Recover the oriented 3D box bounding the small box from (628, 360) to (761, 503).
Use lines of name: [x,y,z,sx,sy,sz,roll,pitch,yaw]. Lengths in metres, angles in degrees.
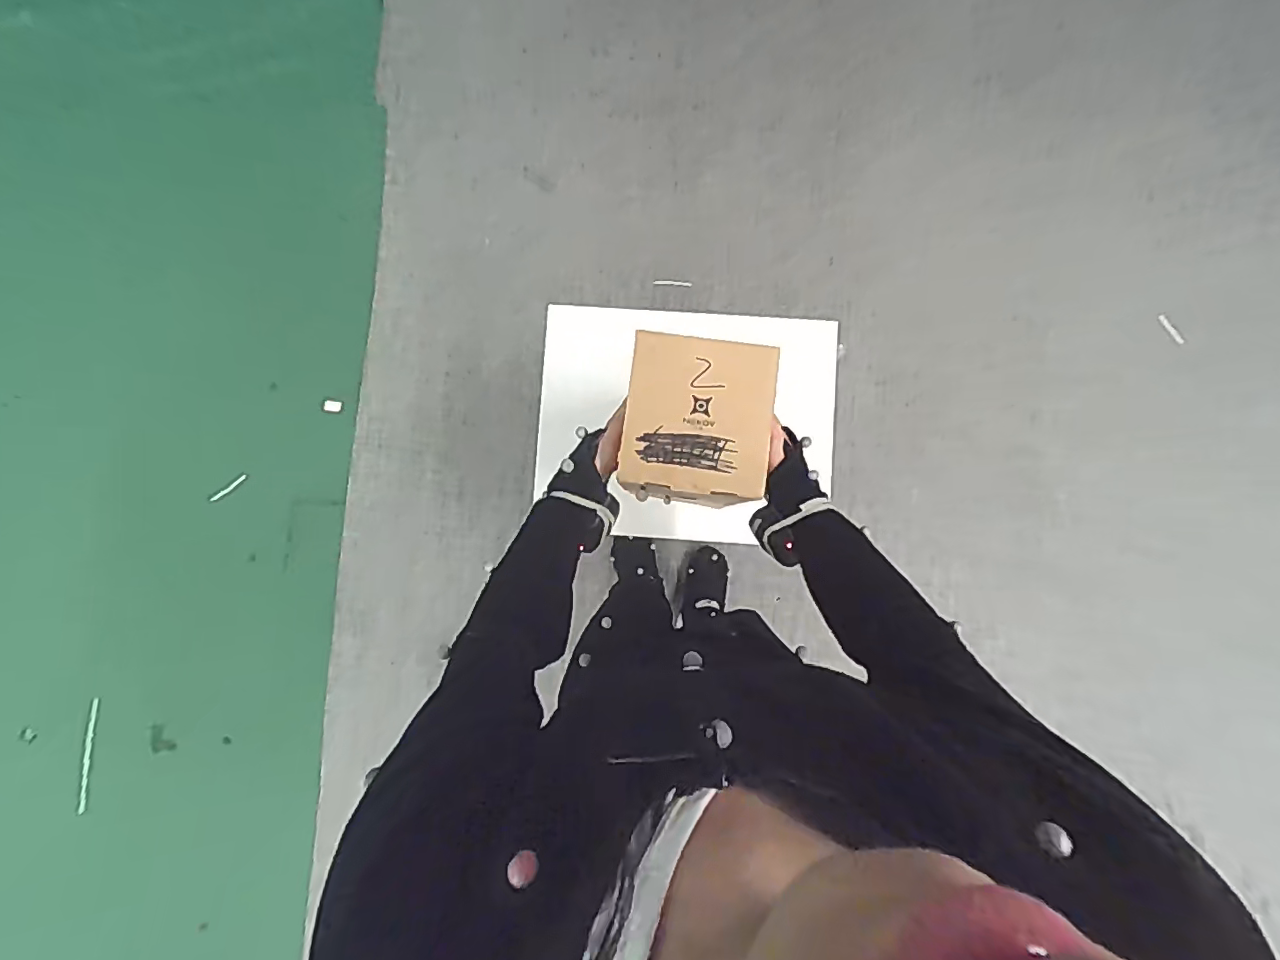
small box: [0.077,-0.065,0.836,0.168,0.176,0.179,10,86,2]
